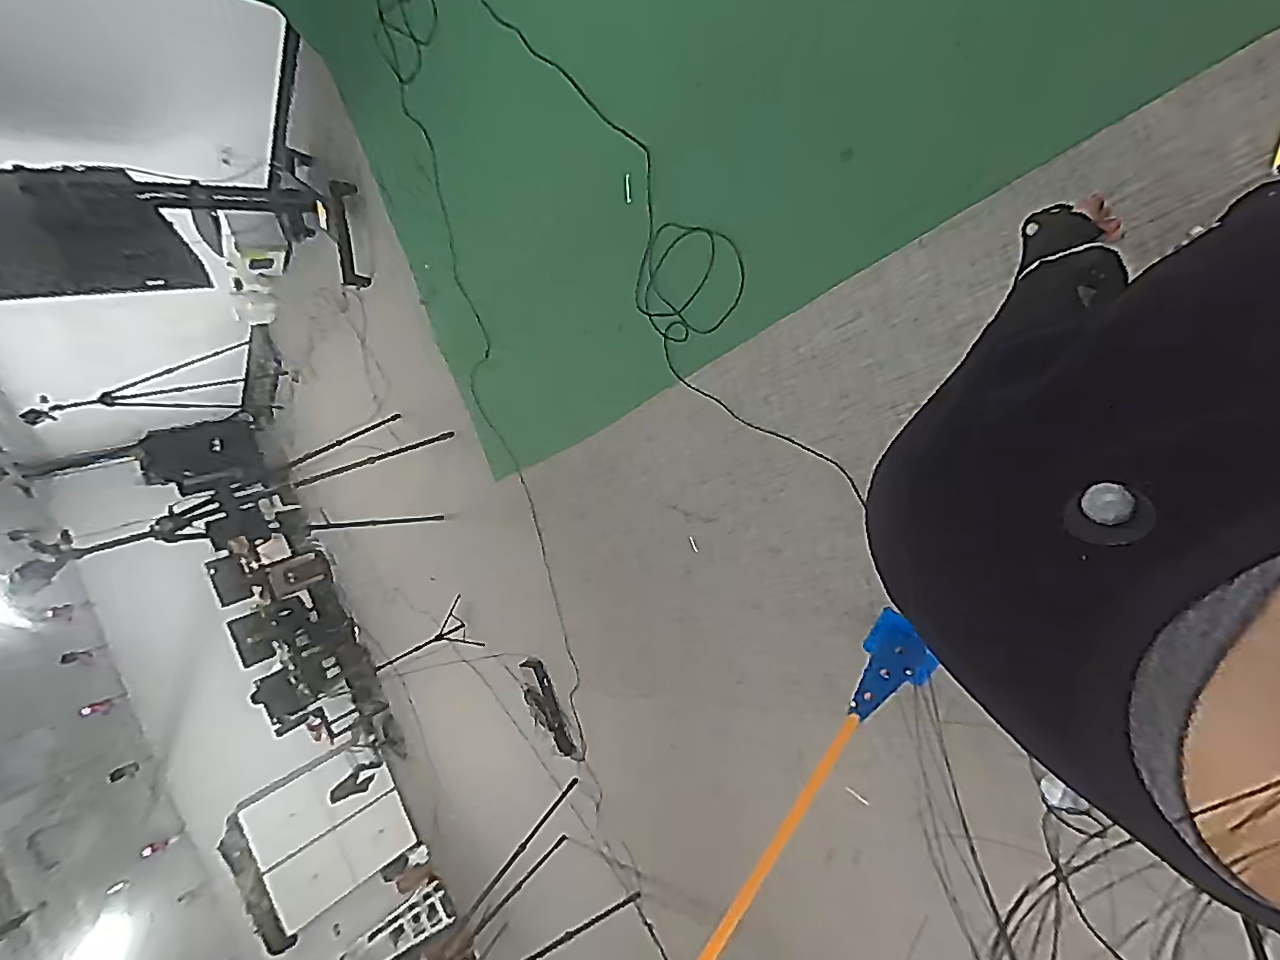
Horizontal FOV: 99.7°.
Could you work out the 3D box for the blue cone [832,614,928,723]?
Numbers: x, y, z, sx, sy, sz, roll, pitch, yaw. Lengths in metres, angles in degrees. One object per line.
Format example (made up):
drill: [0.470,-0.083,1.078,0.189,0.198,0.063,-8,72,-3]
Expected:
blue cone: [0.665,0.580,1.566,0.192,0.380,0.193,33,130,31]
